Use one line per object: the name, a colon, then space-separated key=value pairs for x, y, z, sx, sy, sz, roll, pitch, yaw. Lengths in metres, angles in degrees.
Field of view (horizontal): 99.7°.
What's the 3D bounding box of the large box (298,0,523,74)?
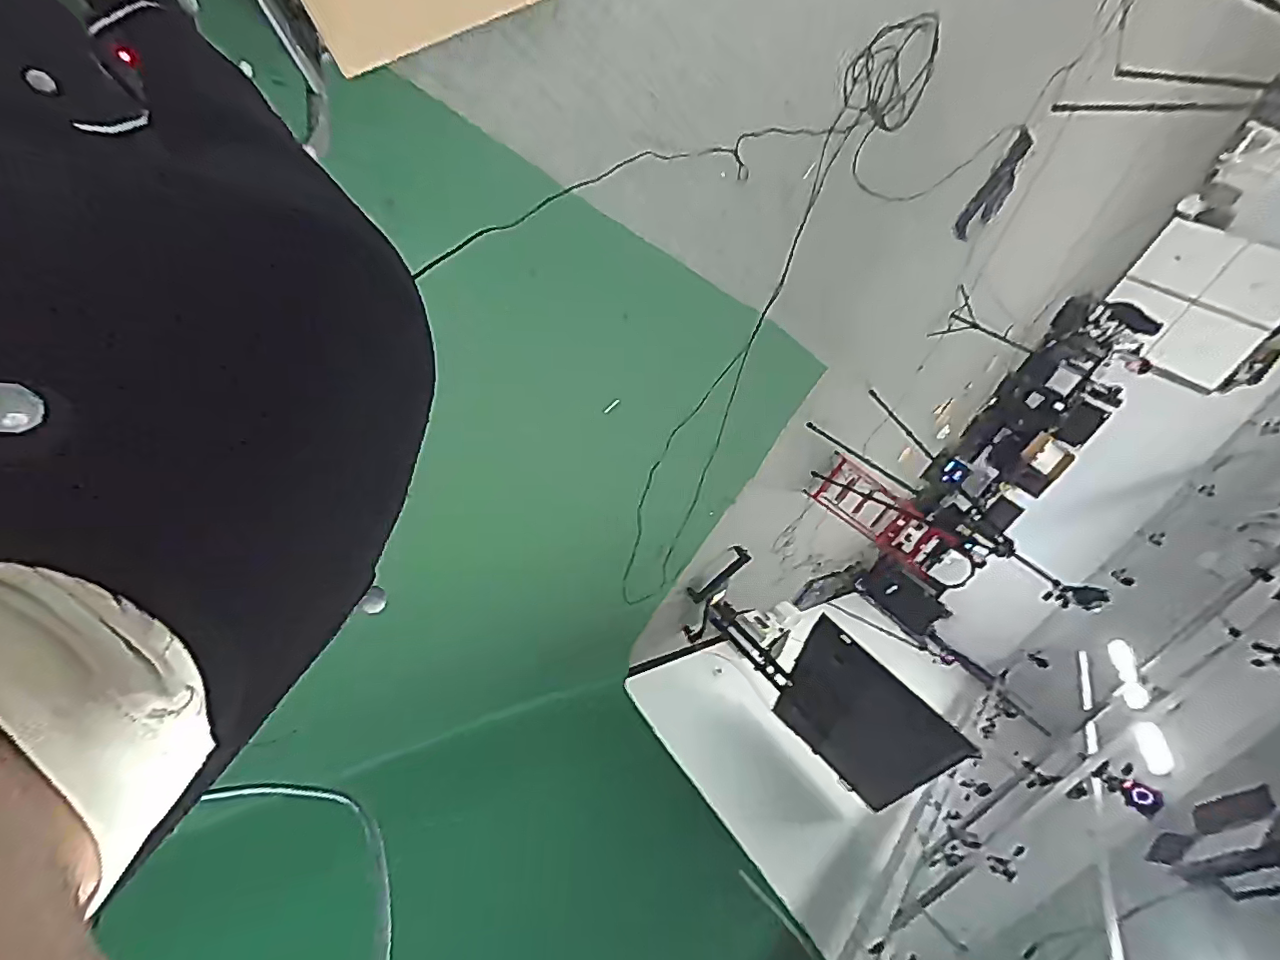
large box: x=-0.403 y=-0.929 z=0.851 sx=0.408 sy=0.320 sz=0.320 roll=-28 pitch=146 yaw=-6
